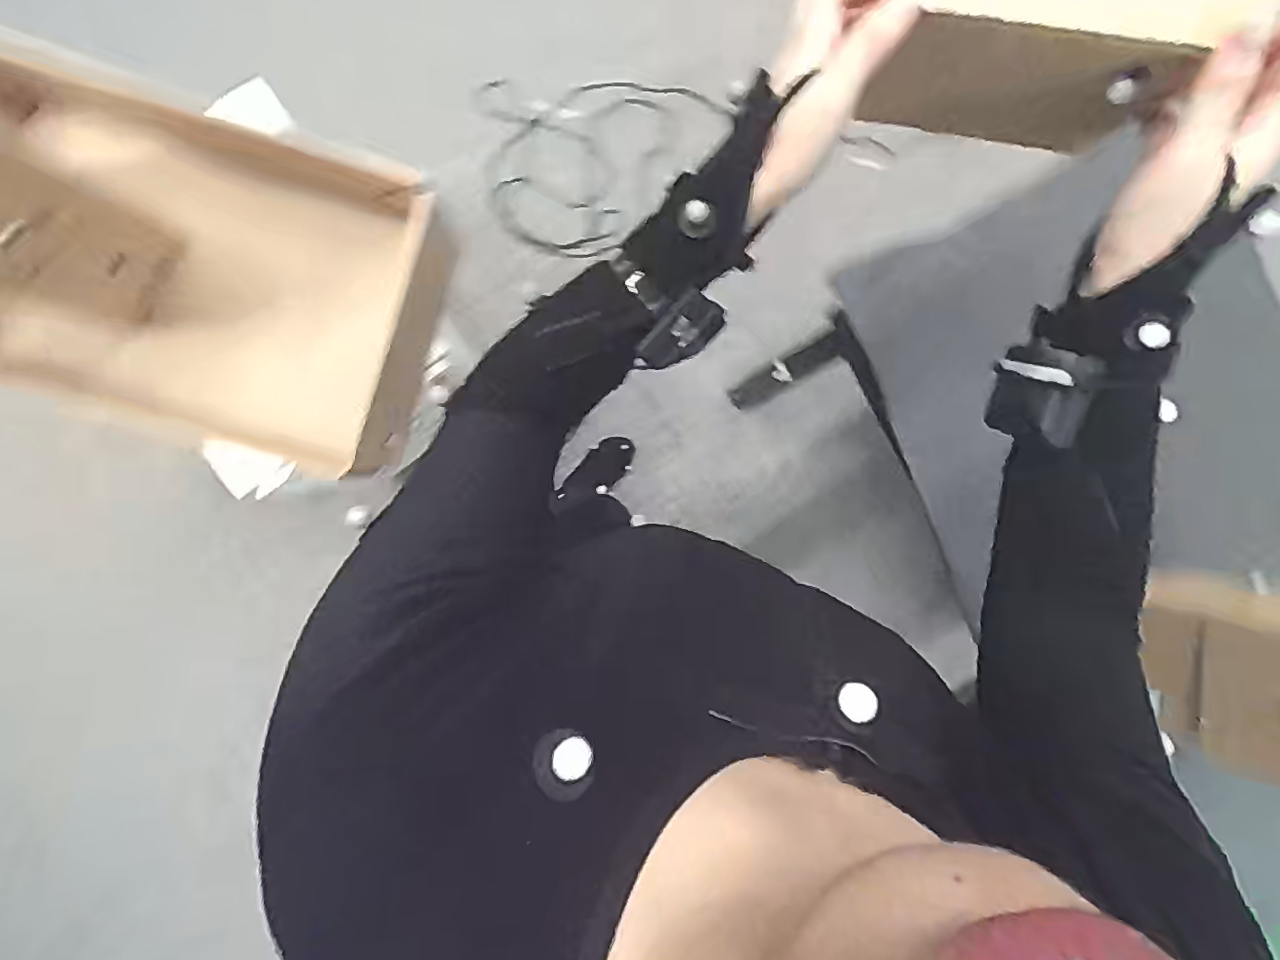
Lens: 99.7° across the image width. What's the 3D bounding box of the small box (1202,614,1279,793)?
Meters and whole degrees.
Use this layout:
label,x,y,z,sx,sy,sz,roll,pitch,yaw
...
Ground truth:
label,x,y,z,sx,sy,sz,roll,pitch,yaw
small box,0.756,0.253,0.569,0.168,0.176,0.179,3,91,-5
